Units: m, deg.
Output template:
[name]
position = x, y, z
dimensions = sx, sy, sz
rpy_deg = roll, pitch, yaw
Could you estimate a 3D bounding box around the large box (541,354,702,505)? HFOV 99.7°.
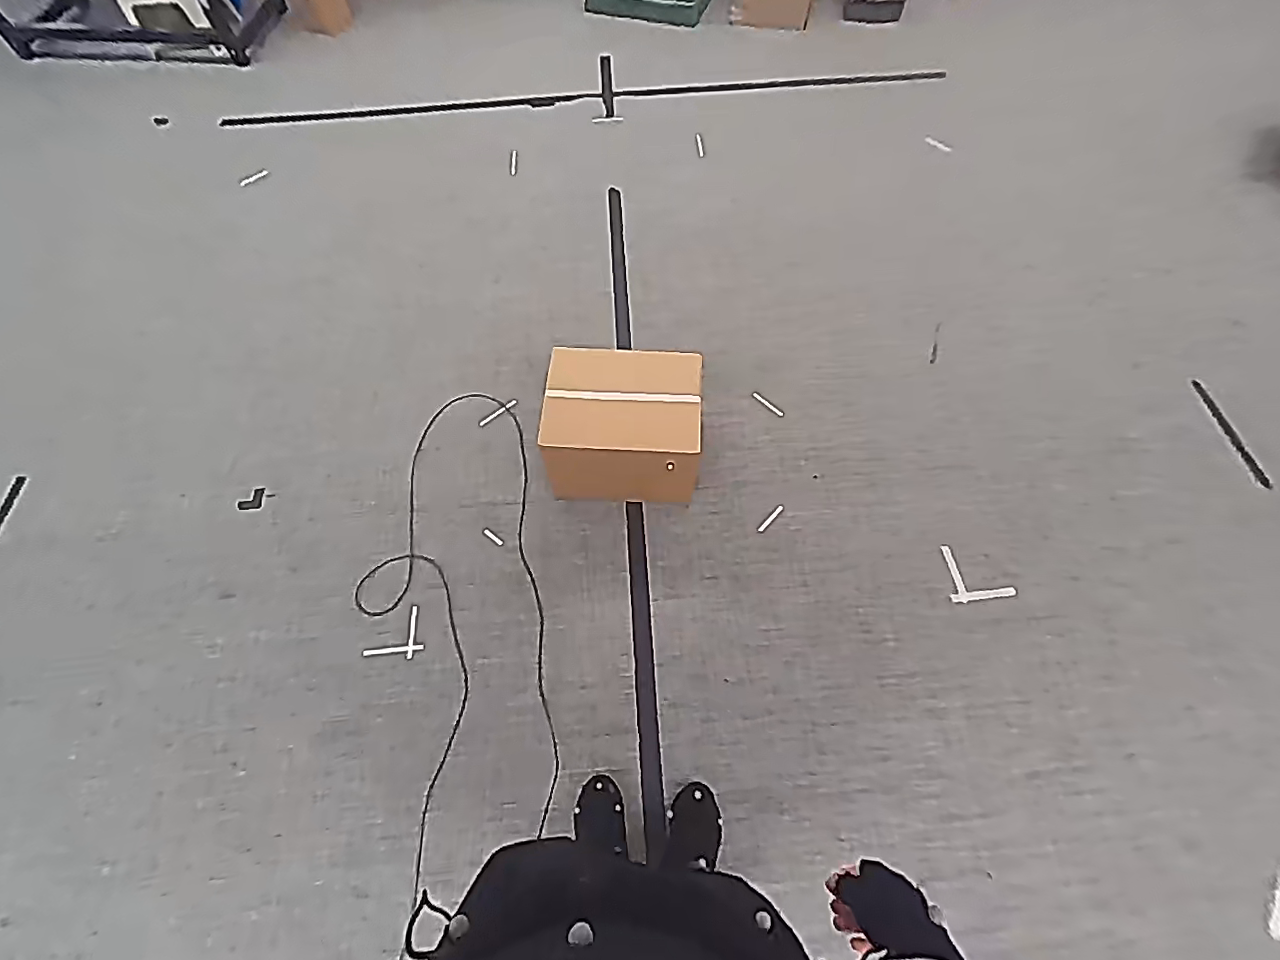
[large box]
position = -0.039, -0.132, 1.520
dimensions = 0.408, 0.320, 0.320
rpy_deg = 3, 63, 1
